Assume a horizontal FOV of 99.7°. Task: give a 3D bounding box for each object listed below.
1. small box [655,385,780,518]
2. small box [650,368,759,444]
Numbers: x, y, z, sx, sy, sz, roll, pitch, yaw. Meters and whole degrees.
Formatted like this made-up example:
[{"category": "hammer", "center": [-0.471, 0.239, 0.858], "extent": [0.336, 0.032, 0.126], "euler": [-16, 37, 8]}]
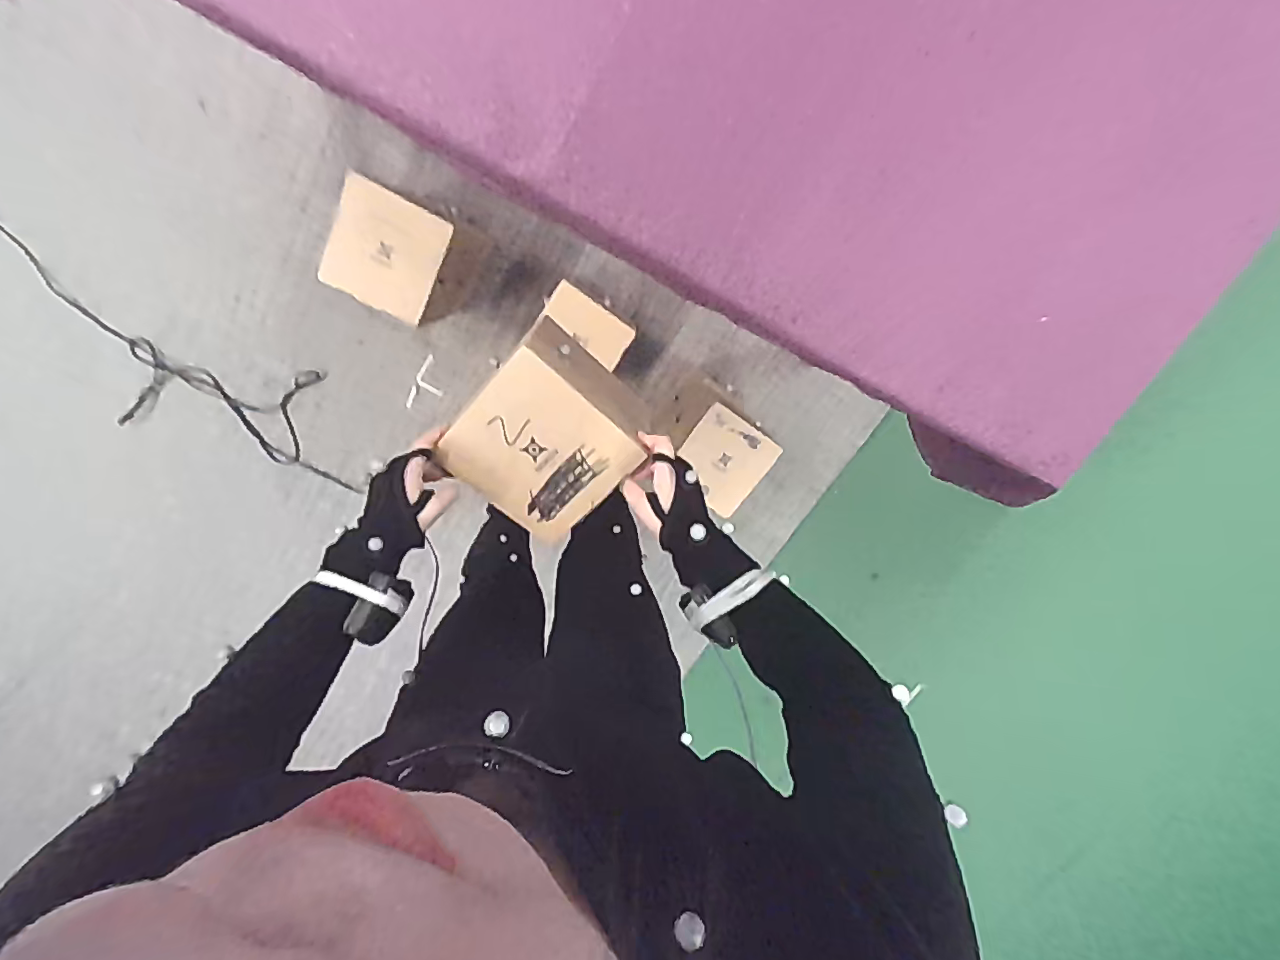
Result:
[{"category": "small box", "center": [0.144, -0.062, 1.075], "extent": [0.168, 0.176, 0.179], "euler": [34, 107, -14]}, {"category": "small box", "center": [0.137, -0.129, 1.226], "extent": [0.168, 0.176, 0.179], "euler": [38, 104, -15]}]
